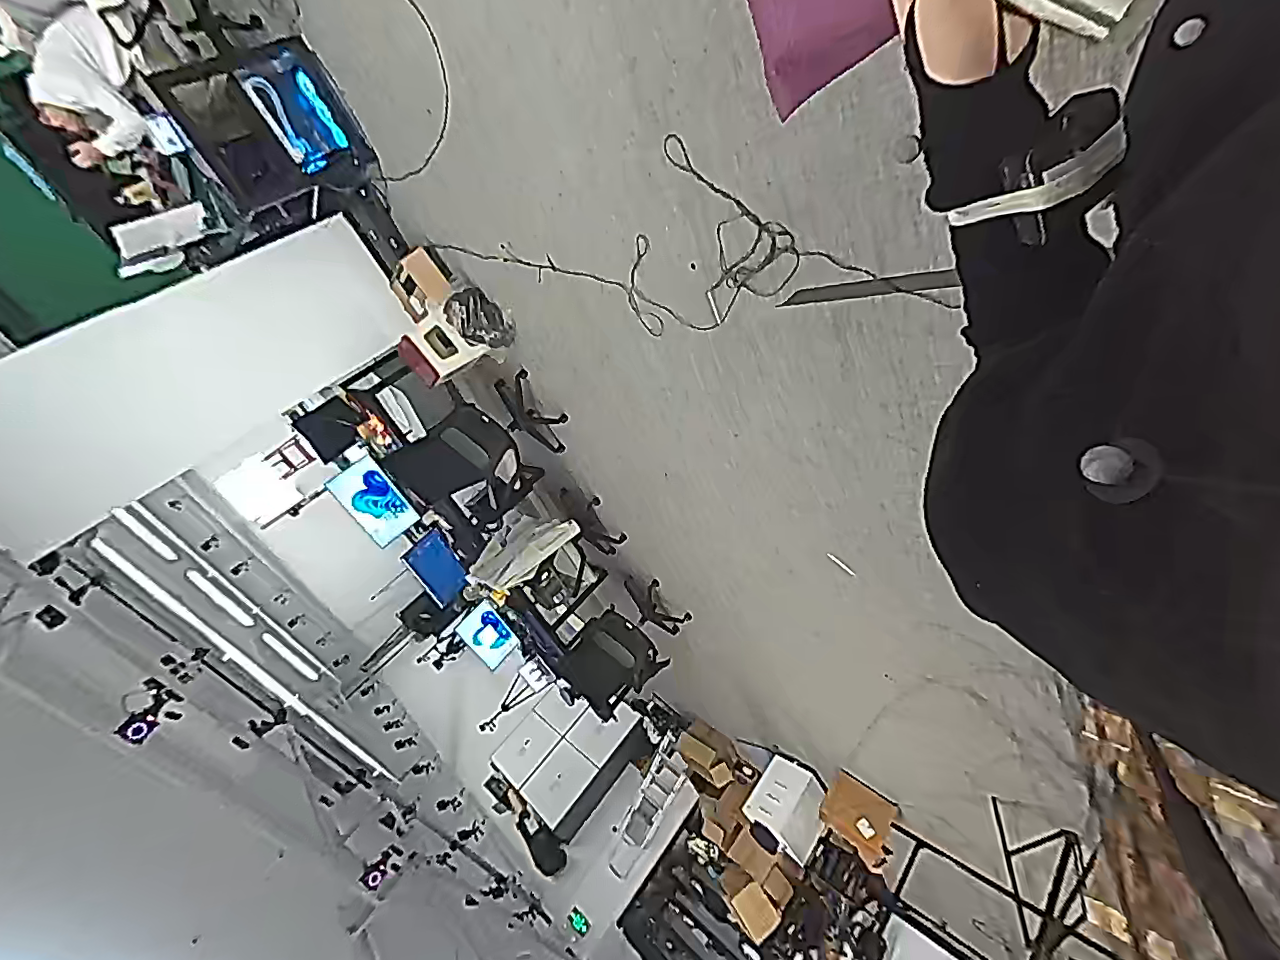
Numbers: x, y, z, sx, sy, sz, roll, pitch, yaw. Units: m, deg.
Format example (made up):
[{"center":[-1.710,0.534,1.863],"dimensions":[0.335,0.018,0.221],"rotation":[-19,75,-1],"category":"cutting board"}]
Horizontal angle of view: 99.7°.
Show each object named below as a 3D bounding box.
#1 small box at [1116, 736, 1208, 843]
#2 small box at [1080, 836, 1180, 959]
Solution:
[{"center":[1.478,0.868,1.533],"dimensions":[0.168,0.176,0.179],"rotation":[9,137,51],"category":"small box"},{"center":[1.262,1.074,1.394],"dimensions":[0.168,0.176,0.179],"rotation":[11,137,48],"category":"small box"}]
